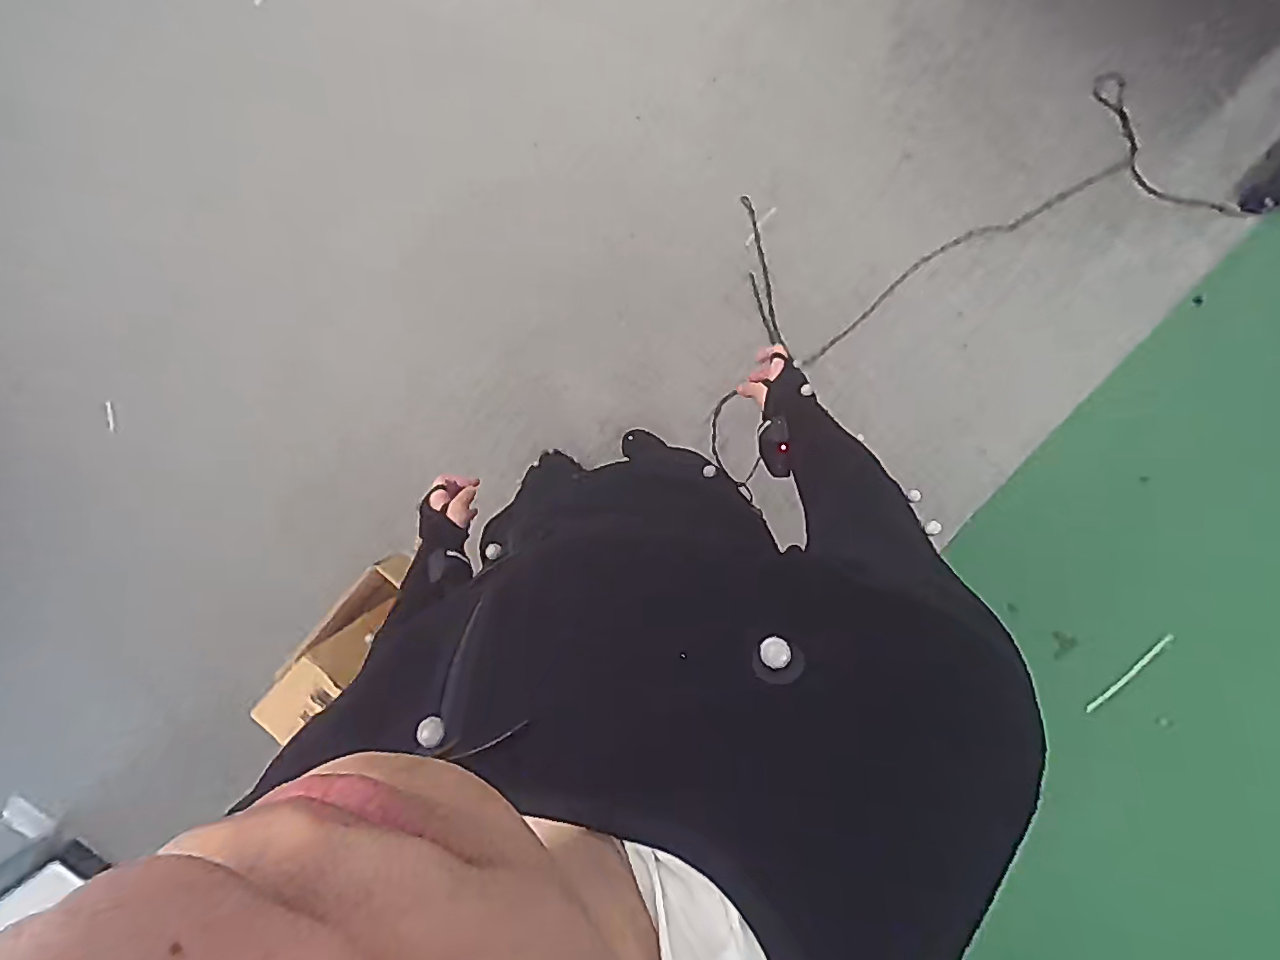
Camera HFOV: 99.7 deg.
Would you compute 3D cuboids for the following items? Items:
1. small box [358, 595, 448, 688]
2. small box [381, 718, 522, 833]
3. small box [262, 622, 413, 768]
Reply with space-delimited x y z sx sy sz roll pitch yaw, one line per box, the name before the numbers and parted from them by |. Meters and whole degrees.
small box | -0.580 0.400 1.248 0.168 0.176 0.179 43 99 -1
small box | -0.369 0.628 1.091 0.168 0.176 0.179 45 100 -2
small box | -0.591 0.419 1.085 0.168 0.176 0.179 45 100 -1
